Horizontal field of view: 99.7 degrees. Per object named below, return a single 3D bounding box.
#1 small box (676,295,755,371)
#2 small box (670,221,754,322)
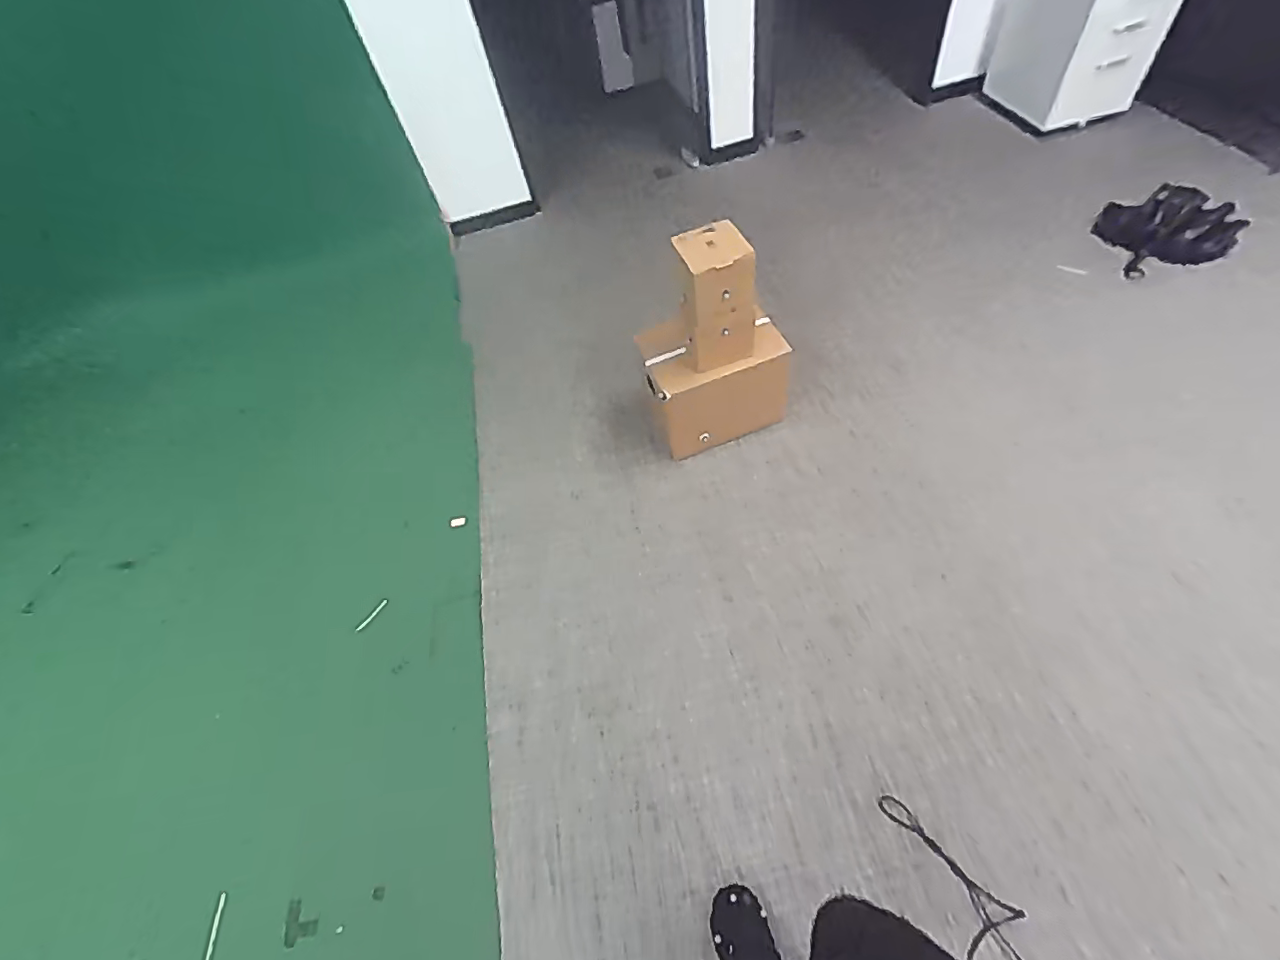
[{"bbox_3d":[0.216,-0.440,1.549,0.179,0.176,0.168,-19,55,-4],"label":"small box"},{"bbox_3d":[0.191,-0.538,1.421,0.168,0.176,0.179,-19,55,-2],"label":"small box"}]
